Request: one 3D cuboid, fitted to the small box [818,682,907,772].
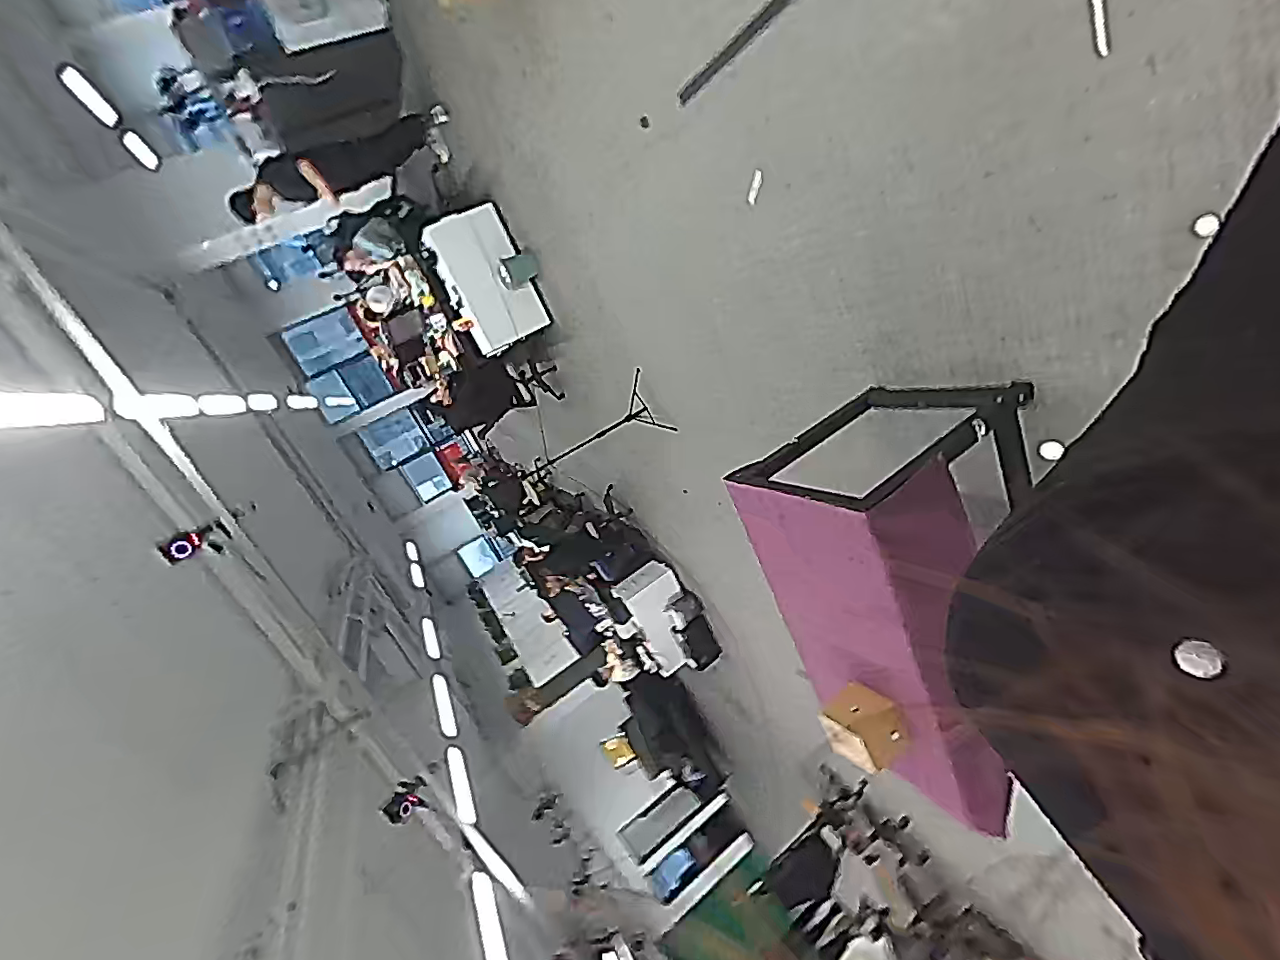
[{"bbox_3d":[0.718,0.786,1.744,0.168,0.176,0.179,63,160,-15],"label":"small box"}]
